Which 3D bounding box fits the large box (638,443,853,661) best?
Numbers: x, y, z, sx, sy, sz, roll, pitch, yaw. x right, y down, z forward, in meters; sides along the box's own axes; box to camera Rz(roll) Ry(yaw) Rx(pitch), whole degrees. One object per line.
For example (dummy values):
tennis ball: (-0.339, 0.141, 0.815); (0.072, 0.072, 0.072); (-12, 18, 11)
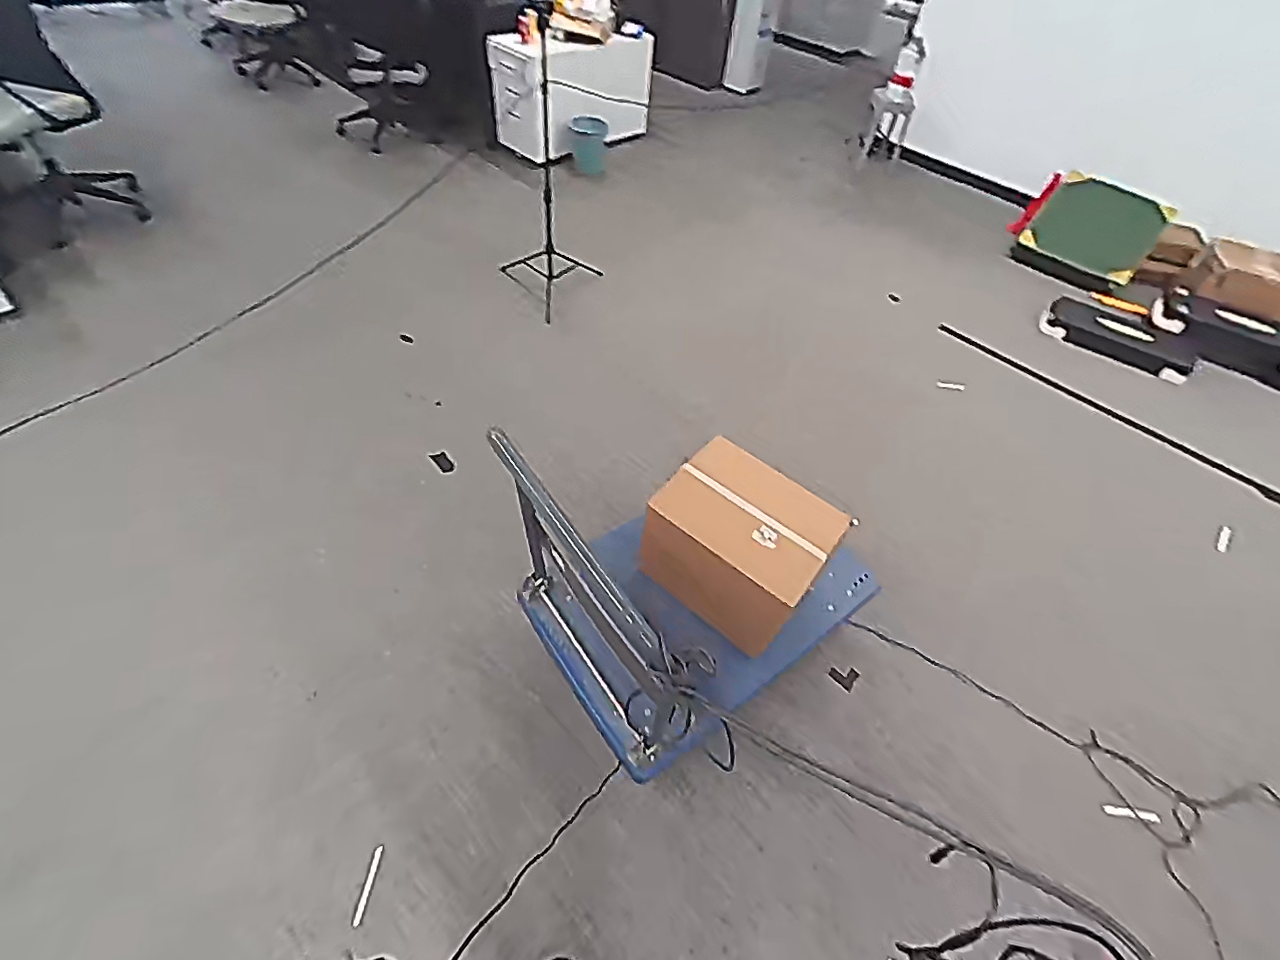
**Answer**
large box: (0.251, 0.183, 1.400); (0.408, 0.320, 0.320); (35, 56, 20)
